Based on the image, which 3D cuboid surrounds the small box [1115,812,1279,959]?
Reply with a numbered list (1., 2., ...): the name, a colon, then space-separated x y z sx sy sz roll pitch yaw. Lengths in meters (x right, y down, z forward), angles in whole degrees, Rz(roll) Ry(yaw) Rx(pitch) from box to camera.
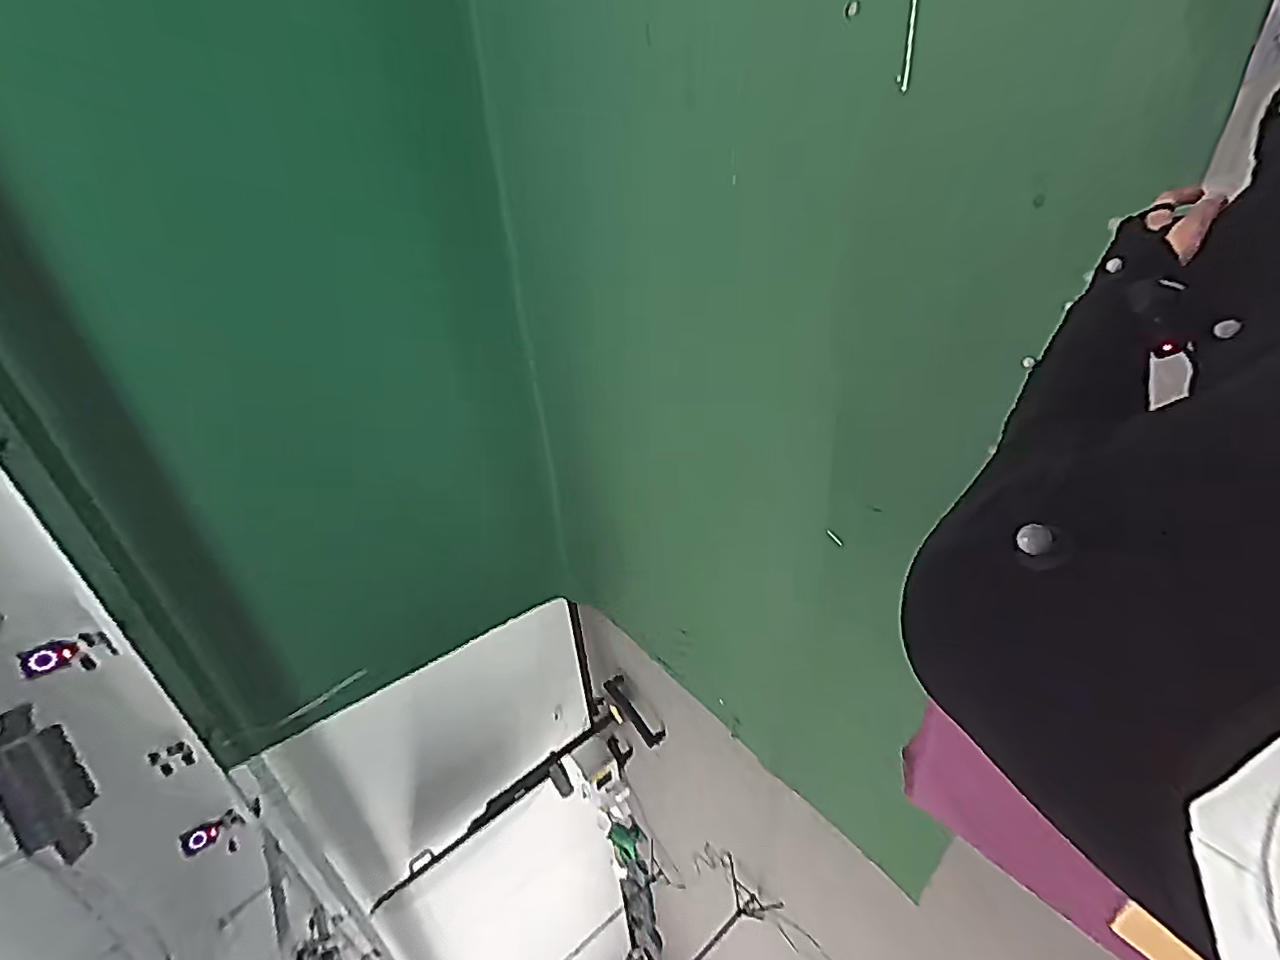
1. small box: 0.832 0.615 0.764 0.179 0.176 0.168 28 132 44
